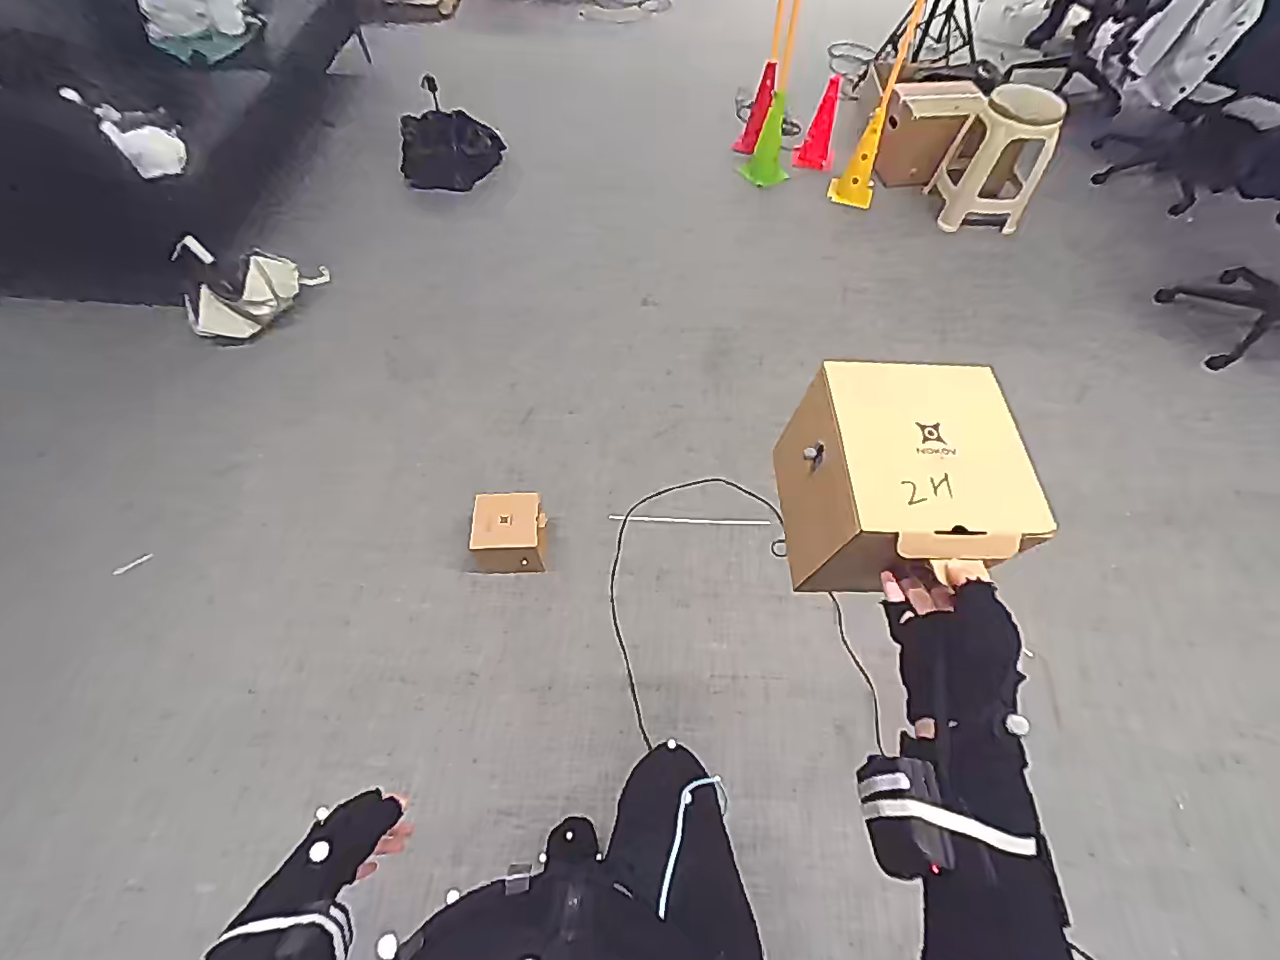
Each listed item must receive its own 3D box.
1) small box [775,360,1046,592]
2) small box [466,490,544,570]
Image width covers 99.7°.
[{"bbox_3d":[0.246,0.003,0.547,0.168,0.176,0.179,1,62,-4],"label":"small box"},{"bbox_3d":[-0.359,0.139,1.477,0.179,0.176,0.168,-2,58,-2],"label":"small box"}]
